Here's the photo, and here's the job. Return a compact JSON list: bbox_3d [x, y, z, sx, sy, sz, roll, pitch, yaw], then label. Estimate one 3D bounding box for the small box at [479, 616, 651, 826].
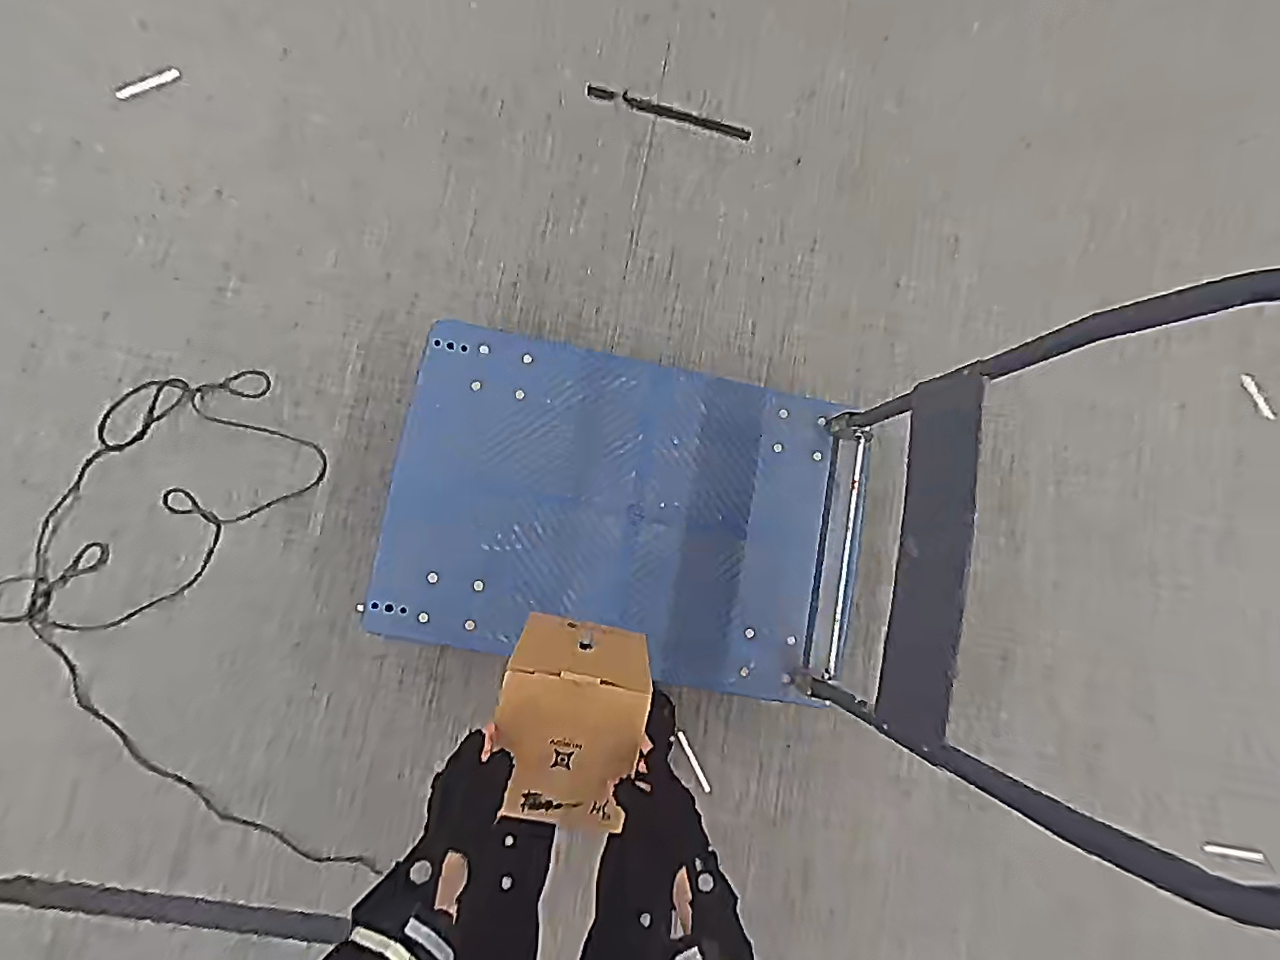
[{"bbox_3d":[-0.090,0.291,0.689,0.168,0.176,0.179,12,94,-4],"label":"small box"}]
